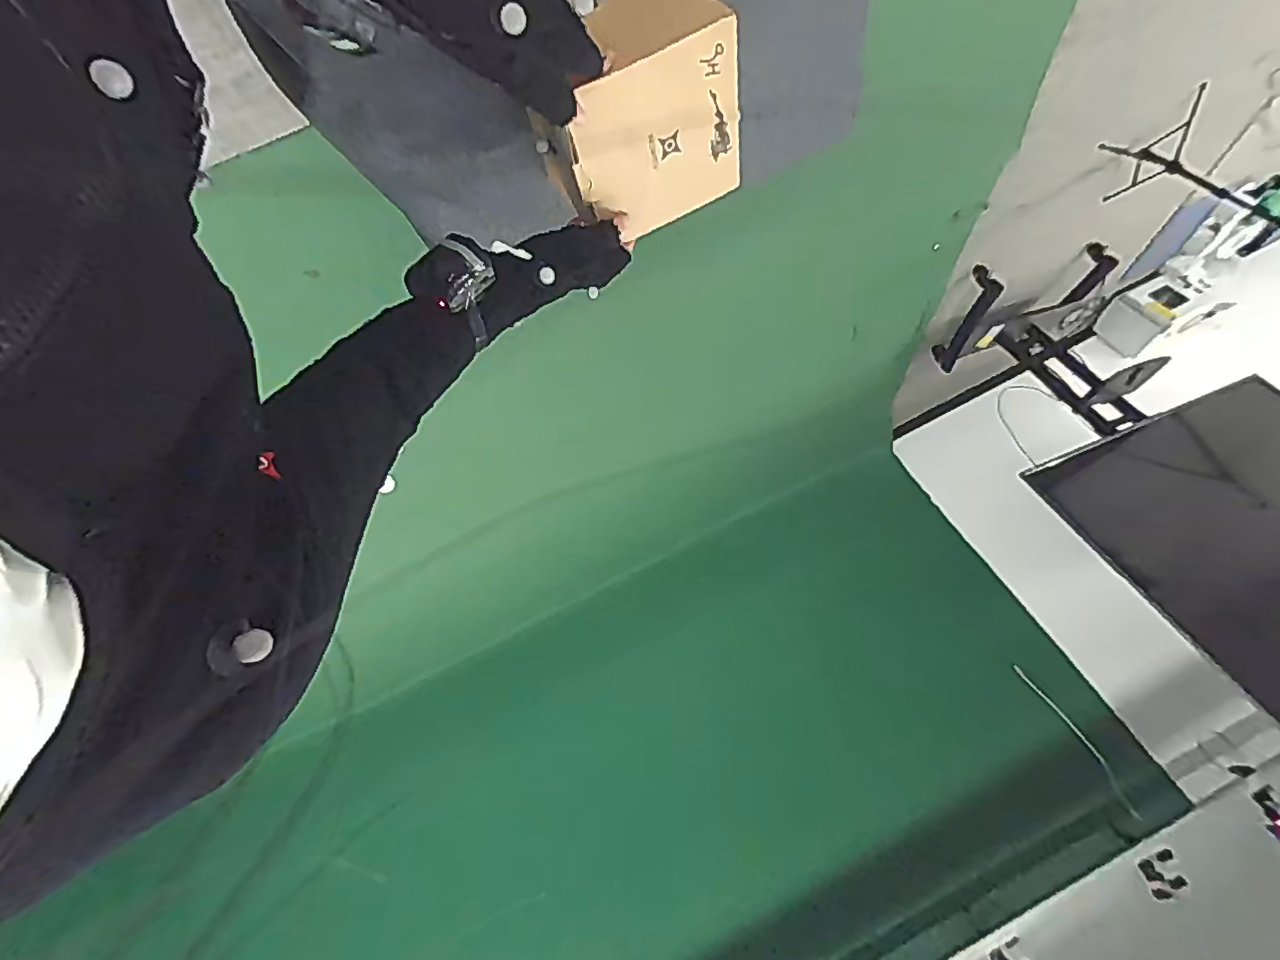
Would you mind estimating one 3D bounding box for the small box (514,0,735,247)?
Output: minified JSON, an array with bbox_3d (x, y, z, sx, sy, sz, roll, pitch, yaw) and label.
[{"bbox_3d":[-0.017,-0.394,0.573,0.179,0.176,0.168,-27,152,-3],"label":"small box"}]
